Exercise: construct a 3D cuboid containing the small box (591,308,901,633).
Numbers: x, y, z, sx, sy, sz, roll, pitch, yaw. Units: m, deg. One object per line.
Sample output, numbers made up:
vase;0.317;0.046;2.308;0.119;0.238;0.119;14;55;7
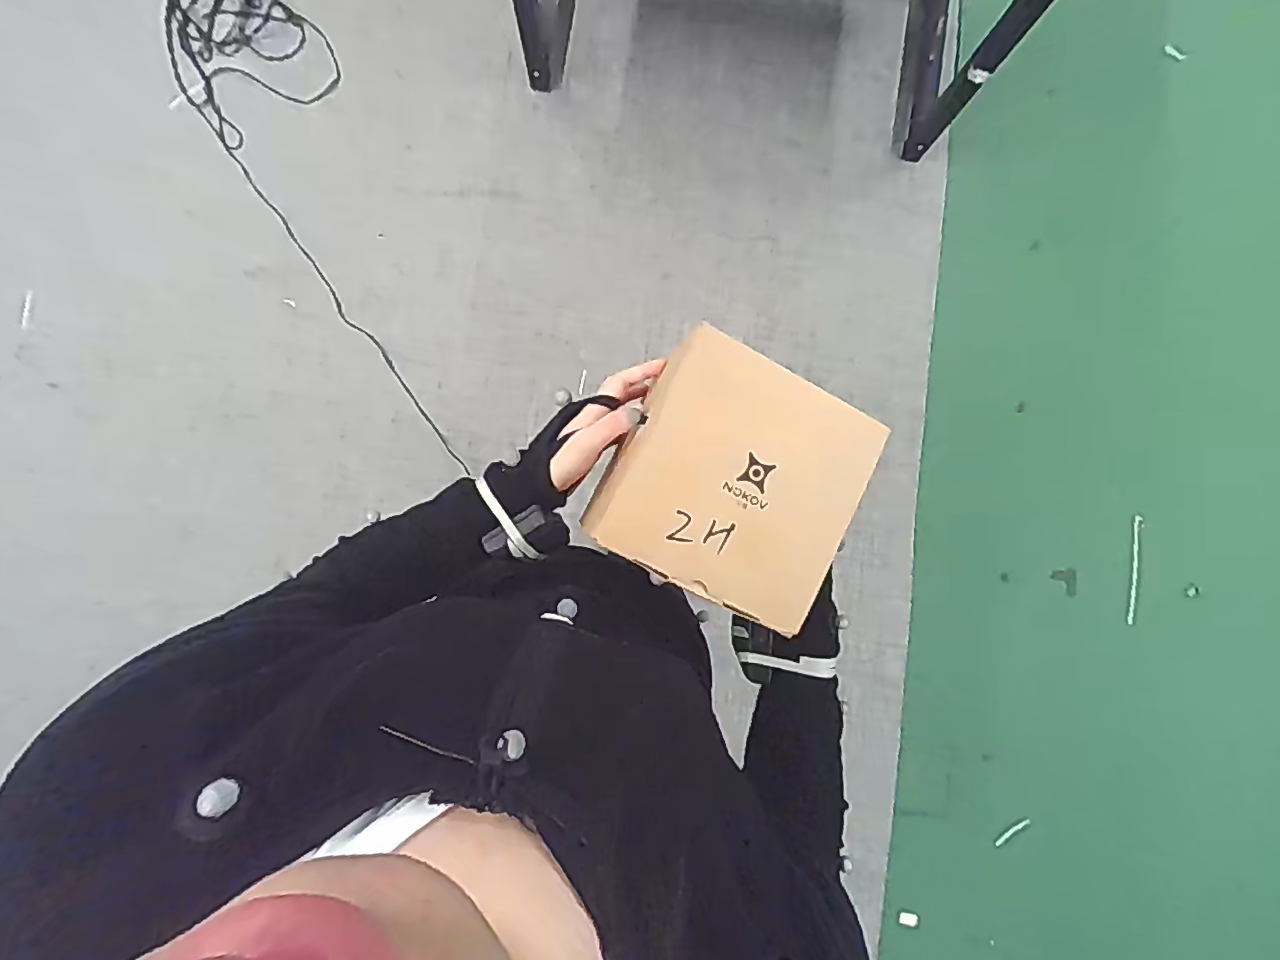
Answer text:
small box;0.068;-0.005;0.450;0.168;0.176;0.179;27;85;-8
